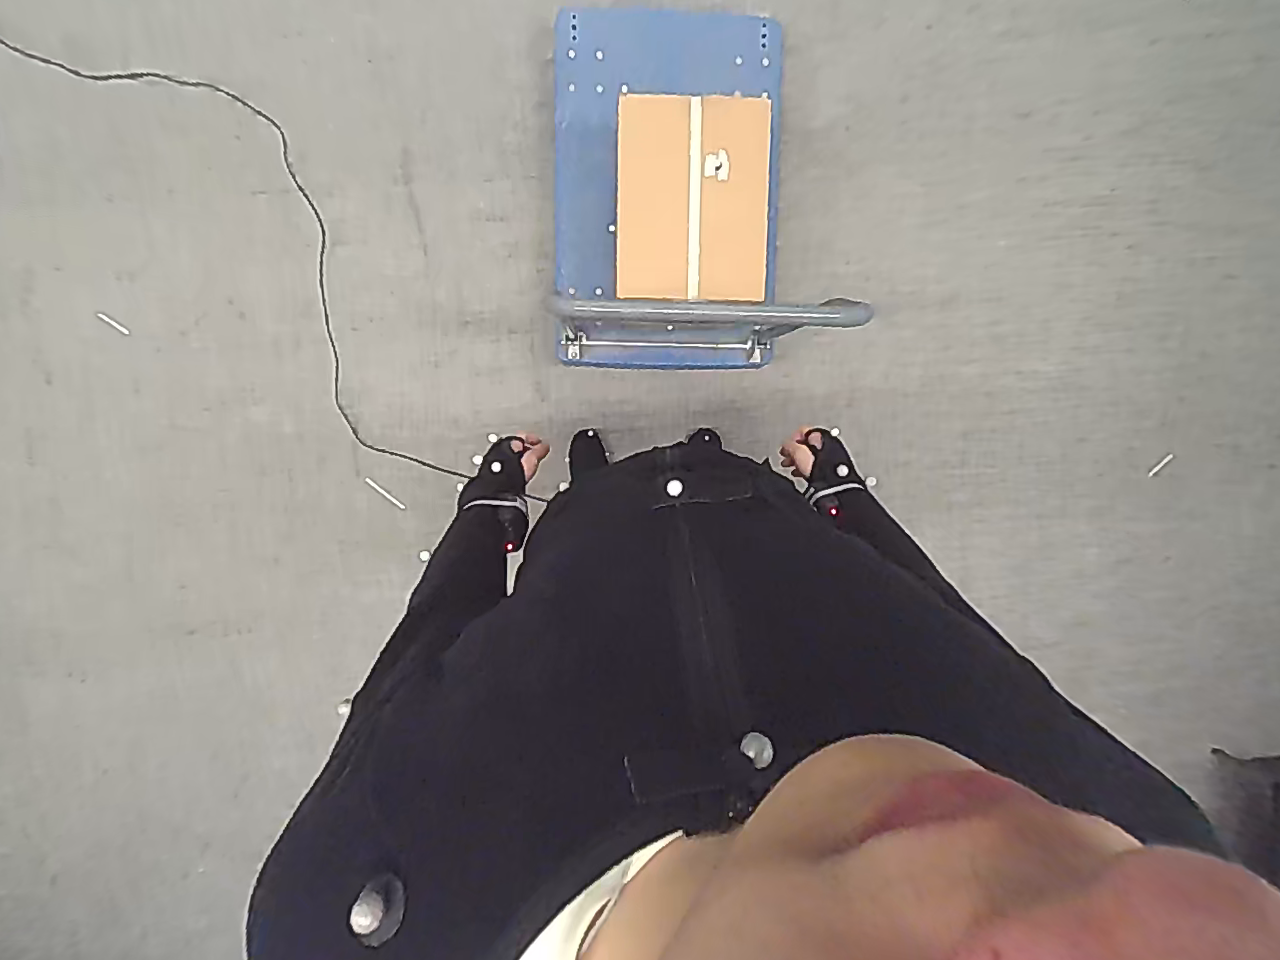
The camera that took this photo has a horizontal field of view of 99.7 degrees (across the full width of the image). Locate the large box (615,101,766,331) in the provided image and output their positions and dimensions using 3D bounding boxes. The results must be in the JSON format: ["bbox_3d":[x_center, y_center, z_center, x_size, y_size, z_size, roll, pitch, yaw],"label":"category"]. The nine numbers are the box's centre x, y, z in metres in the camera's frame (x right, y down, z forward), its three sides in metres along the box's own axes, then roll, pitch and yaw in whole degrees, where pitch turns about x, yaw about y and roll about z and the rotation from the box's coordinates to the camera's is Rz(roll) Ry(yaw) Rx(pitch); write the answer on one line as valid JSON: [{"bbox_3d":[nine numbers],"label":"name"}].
[{"bbox_3d":[0.100,-0.579,1.261,0.320,0.320,0.408,0,94,-3],"label":"large box"}]
